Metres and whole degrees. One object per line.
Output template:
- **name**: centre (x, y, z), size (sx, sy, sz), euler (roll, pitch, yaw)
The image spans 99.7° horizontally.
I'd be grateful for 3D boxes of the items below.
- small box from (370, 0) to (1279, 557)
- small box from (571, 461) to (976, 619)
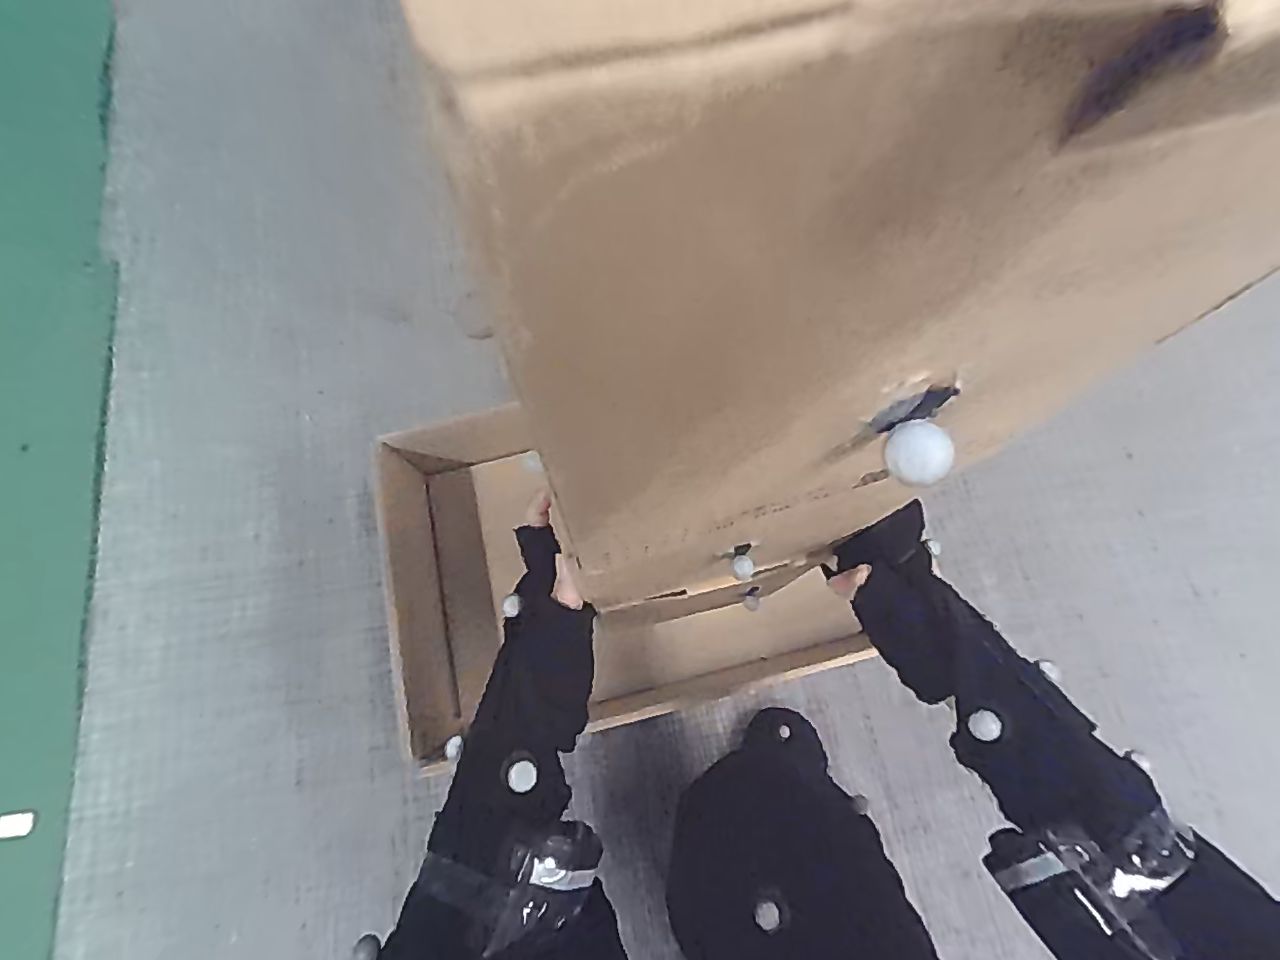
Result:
- **small box**: centre (0.034, -0.085, 0.163), size (0.168, 0.176, 0.179), euler (-16, 72, -7)
- **small box**: centre (0.035, -0.028, 0.316), size (0.179, 0.176, 0.168), euler (-16, 72, -8)
